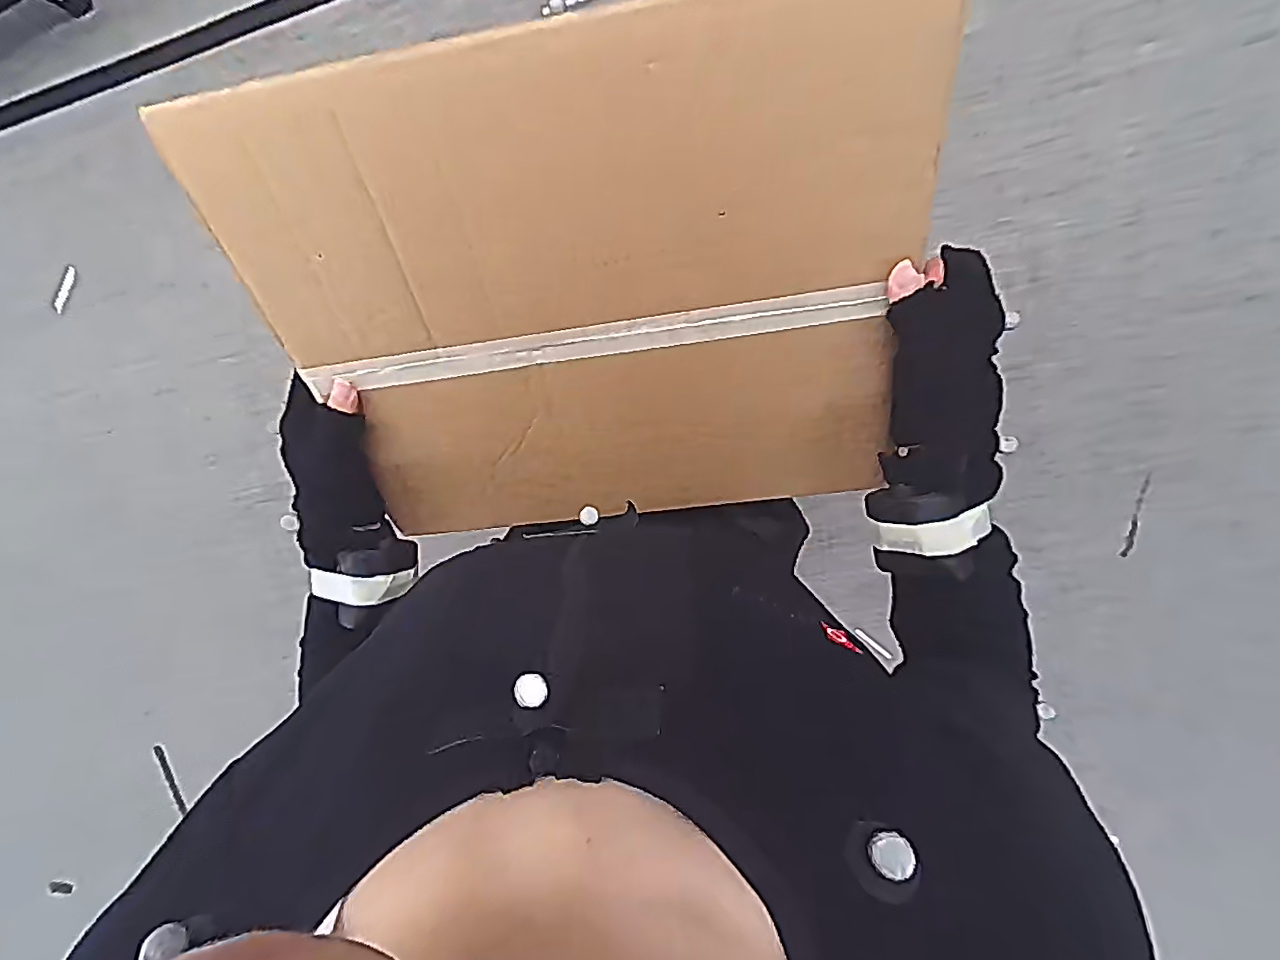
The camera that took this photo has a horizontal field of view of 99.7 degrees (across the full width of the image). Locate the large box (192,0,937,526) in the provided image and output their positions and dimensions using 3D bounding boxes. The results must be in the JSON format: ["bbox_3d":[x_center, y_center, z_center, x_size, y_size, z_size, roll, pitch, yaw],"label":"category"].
[{"bbox_3d":[-0.025,-0.194,0.478,0.408,0.320,0.320,-7,129,7],"label":"large box"}]
